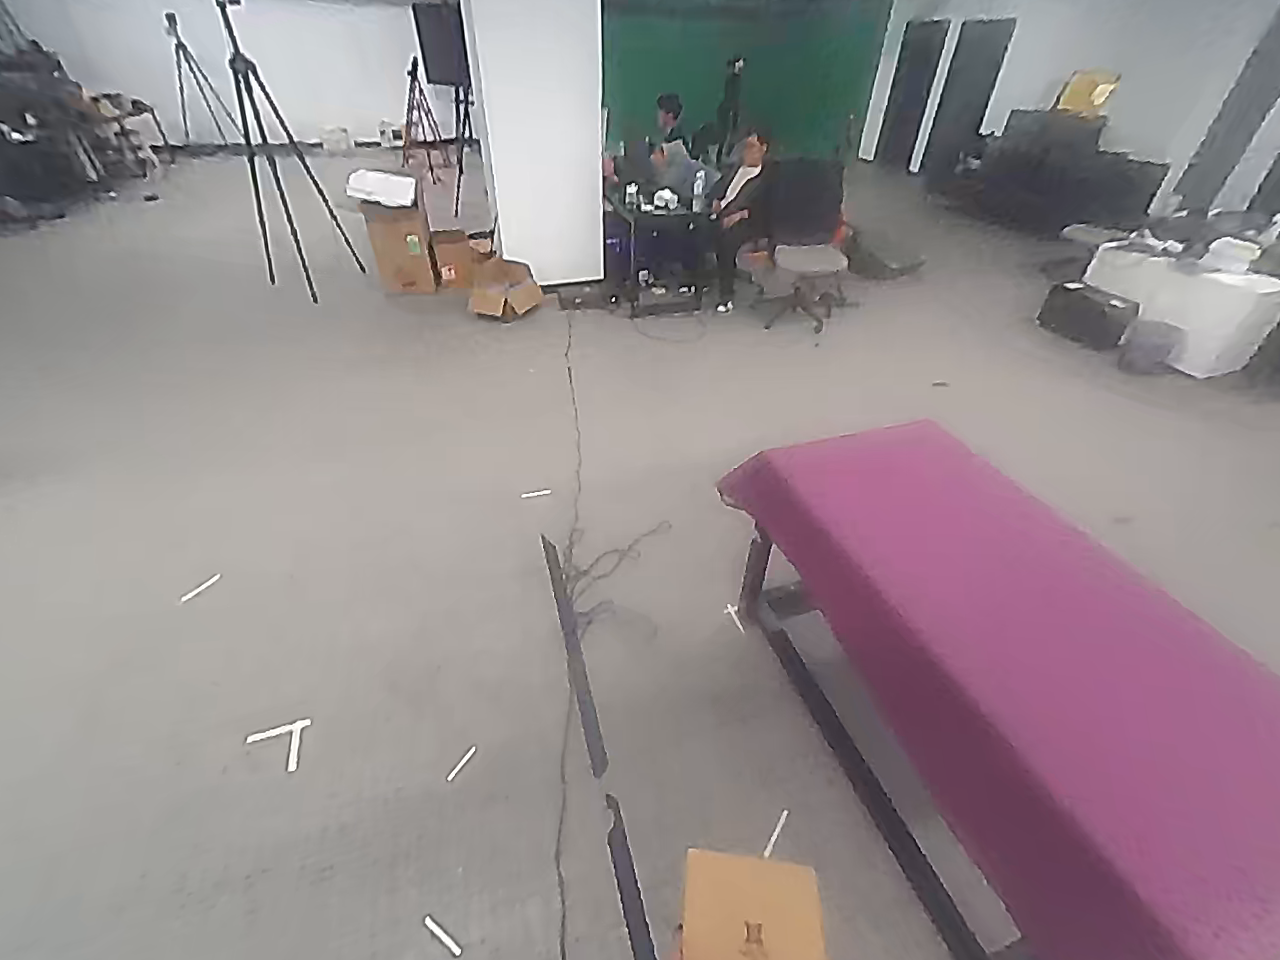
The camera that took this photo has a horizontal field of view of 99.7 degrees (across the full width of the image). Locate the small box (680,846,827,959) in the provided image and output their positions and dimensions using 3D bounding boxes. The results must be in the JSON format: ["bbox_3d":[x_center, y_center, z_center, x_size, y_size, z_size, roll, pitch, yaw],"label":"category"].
[{"bbox_3d":[0.137,0.607,0.691,0.168,0.176,0.179,4,40,6],"label":"small box"}]
